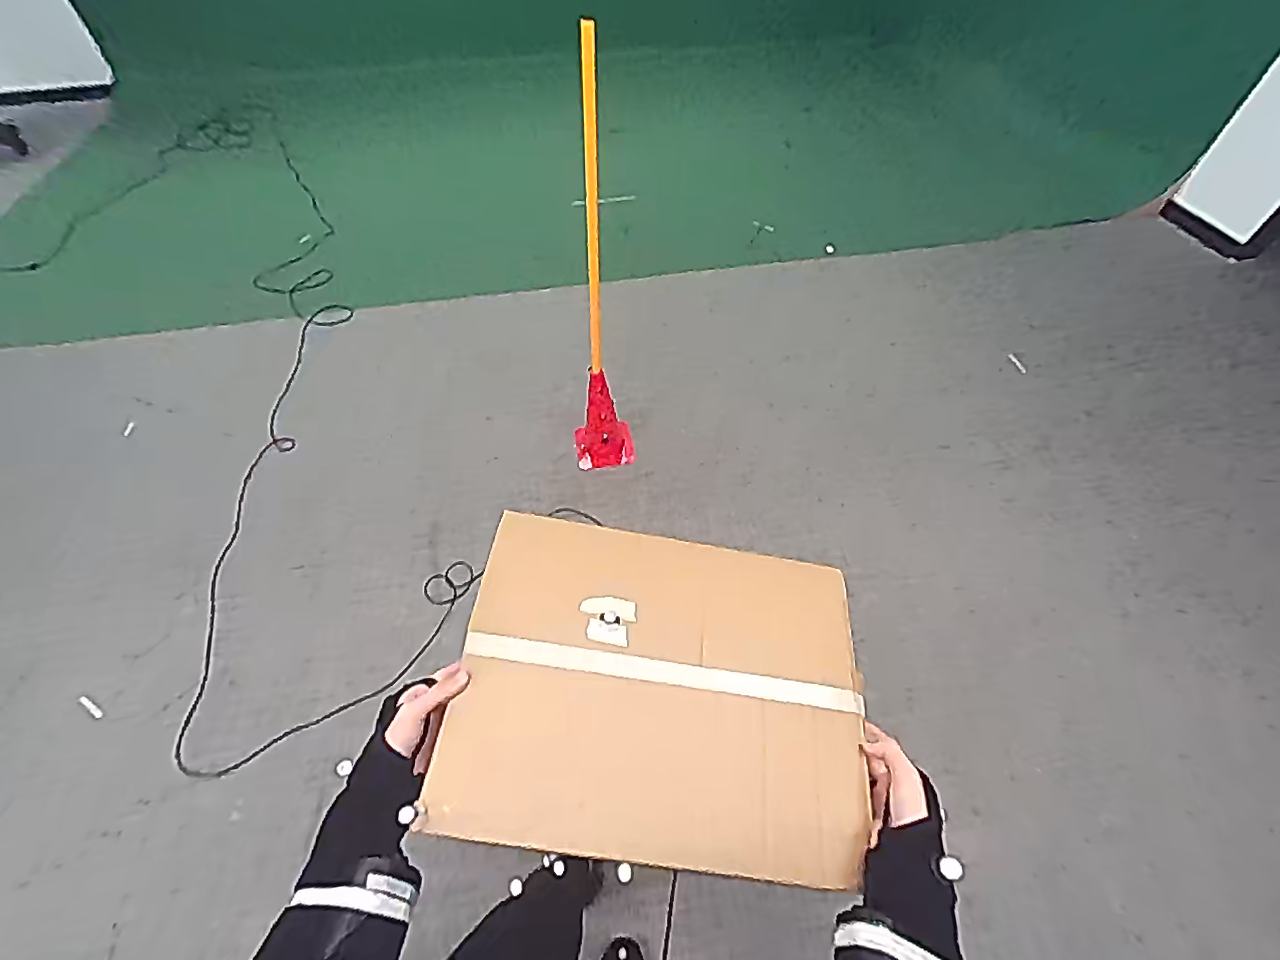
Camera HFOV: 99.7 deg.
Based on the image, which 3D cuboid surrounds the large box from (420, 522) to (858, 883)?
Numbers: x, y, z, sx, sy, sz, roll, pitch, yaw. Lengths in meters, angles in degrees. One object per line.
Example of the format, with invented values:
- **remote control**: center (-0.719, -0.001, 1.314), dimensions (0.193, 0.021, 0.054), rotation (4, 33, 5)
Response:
- **large box**: center (0.001, 0.285, 0.683), dimensions (0.408, 0.320, 0.320), rotation (10, 55, -3)
